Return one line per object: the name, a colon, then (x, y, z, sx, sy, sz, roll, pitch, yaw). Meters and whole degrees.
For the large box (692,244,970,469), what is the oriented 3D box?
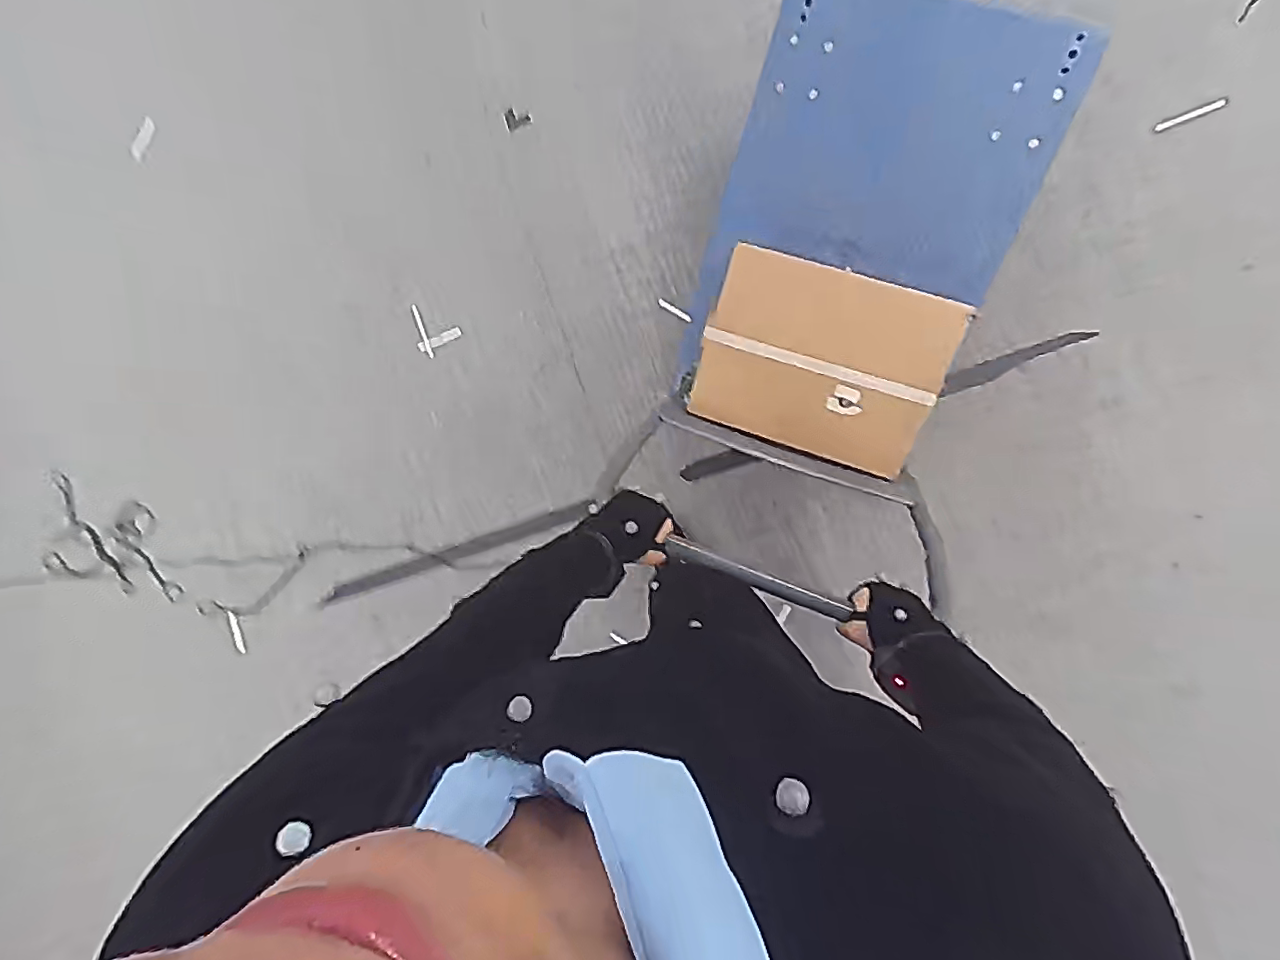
large box: (0.356, -0.261, 1.106, 0.408, 0.320, 0.320, 20, 113, 8)
